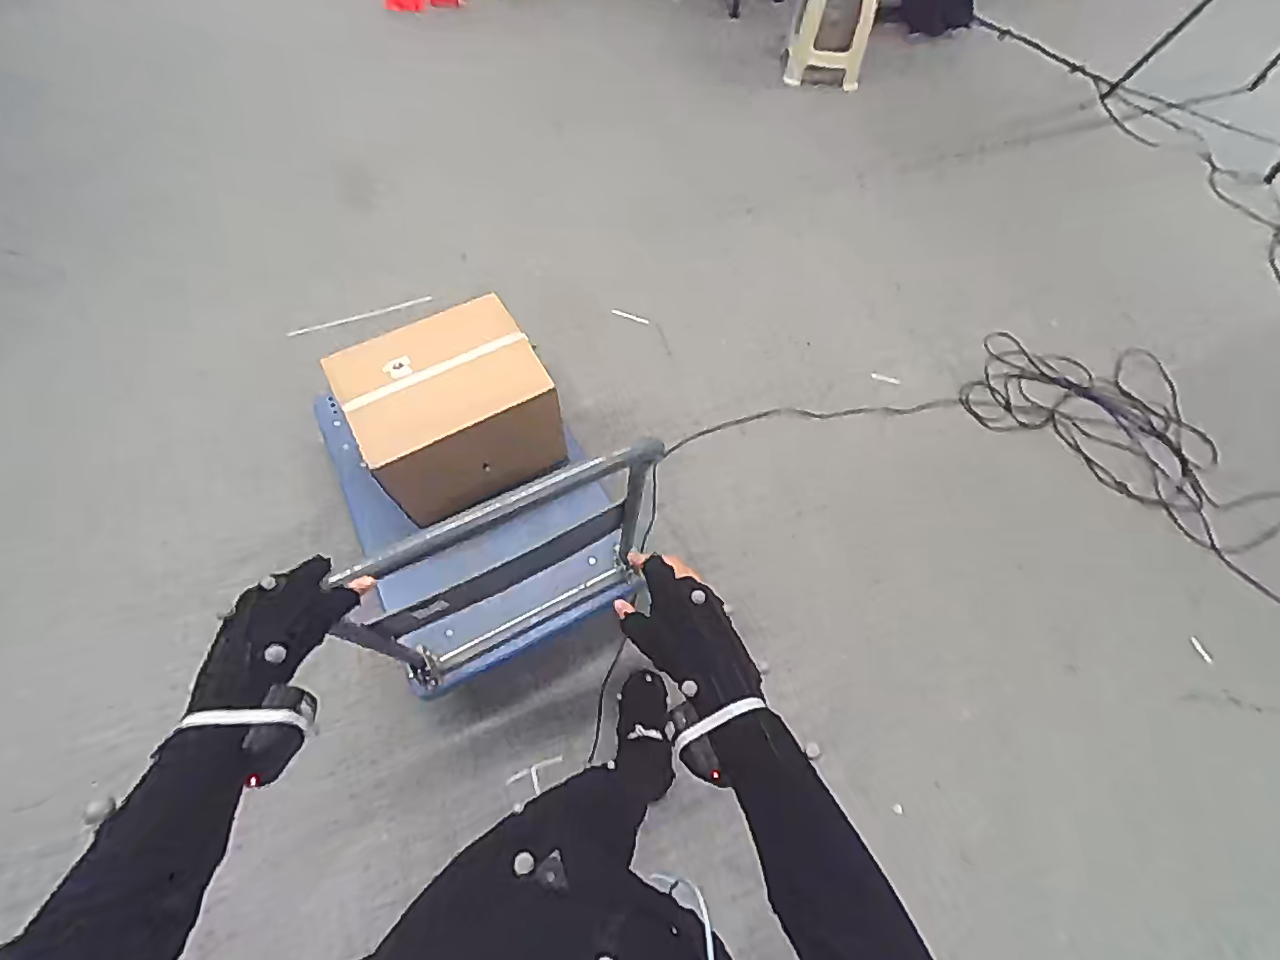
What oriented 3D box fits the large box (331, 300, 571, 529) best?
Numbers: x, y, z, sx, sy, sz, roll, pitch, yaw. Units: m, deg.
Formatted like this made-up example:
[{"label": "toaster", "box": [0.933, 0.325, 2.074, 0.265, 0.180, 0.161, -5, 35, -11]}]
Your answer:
[{"label": "large box", "box": [-0.421, -0.147, 1.289, 0.408, 0.320, 0.320, -29, 67, -14]}]
